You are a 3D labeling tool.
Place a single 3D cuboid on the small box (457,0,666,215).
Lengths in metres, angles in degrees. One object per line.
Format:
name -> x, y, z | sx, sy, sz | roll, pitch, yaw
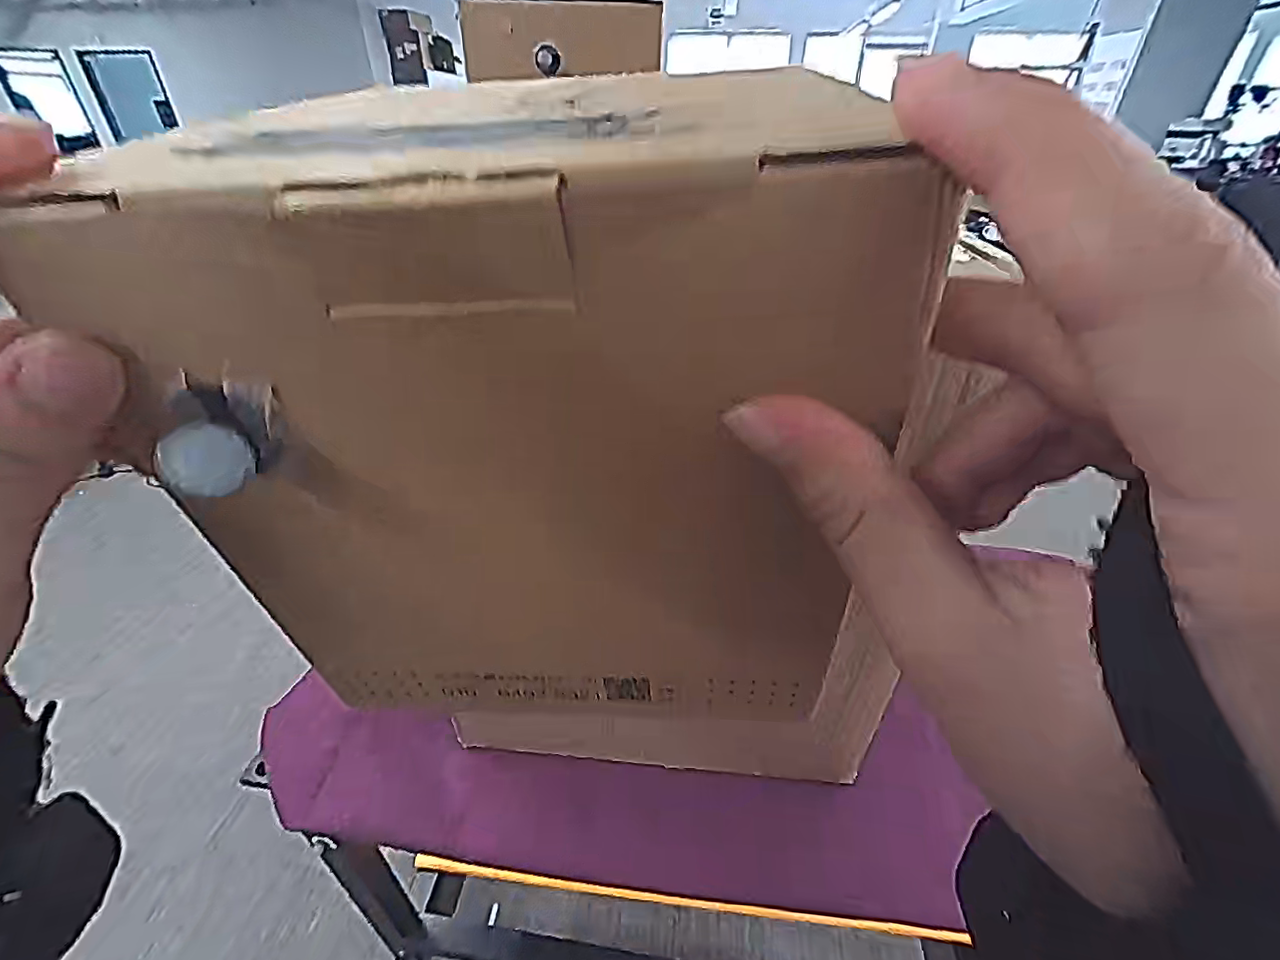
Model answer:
small box -> -0.065, -0.377, 0.559 | 0.179, 0.176, 0.168 | 3, 34, 2
